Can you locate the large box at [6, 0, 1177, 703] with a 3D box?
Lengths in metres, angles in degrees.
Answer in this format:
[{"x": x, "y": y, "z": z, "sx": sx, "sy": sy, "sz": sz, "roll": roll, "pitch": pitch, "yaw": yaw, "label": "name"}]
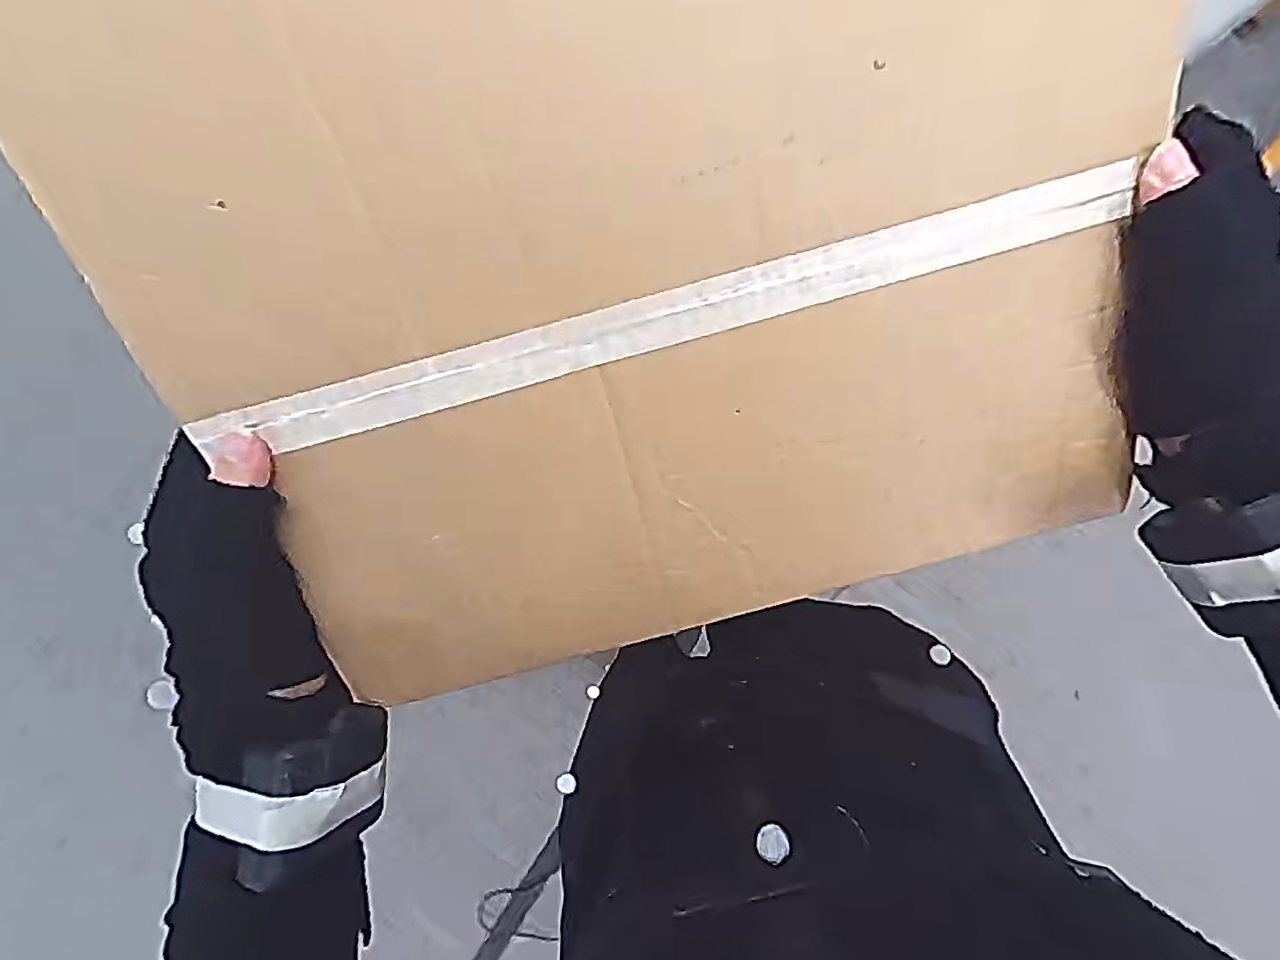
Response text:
[{"x": 0.007, "y": -0.120, "z": 0.367, "sx": 0.408, "sy": 0.320, "sz": 0.320, "roll": -14, "pitch": 114, "yaw": 1, "label": "large box"}]
